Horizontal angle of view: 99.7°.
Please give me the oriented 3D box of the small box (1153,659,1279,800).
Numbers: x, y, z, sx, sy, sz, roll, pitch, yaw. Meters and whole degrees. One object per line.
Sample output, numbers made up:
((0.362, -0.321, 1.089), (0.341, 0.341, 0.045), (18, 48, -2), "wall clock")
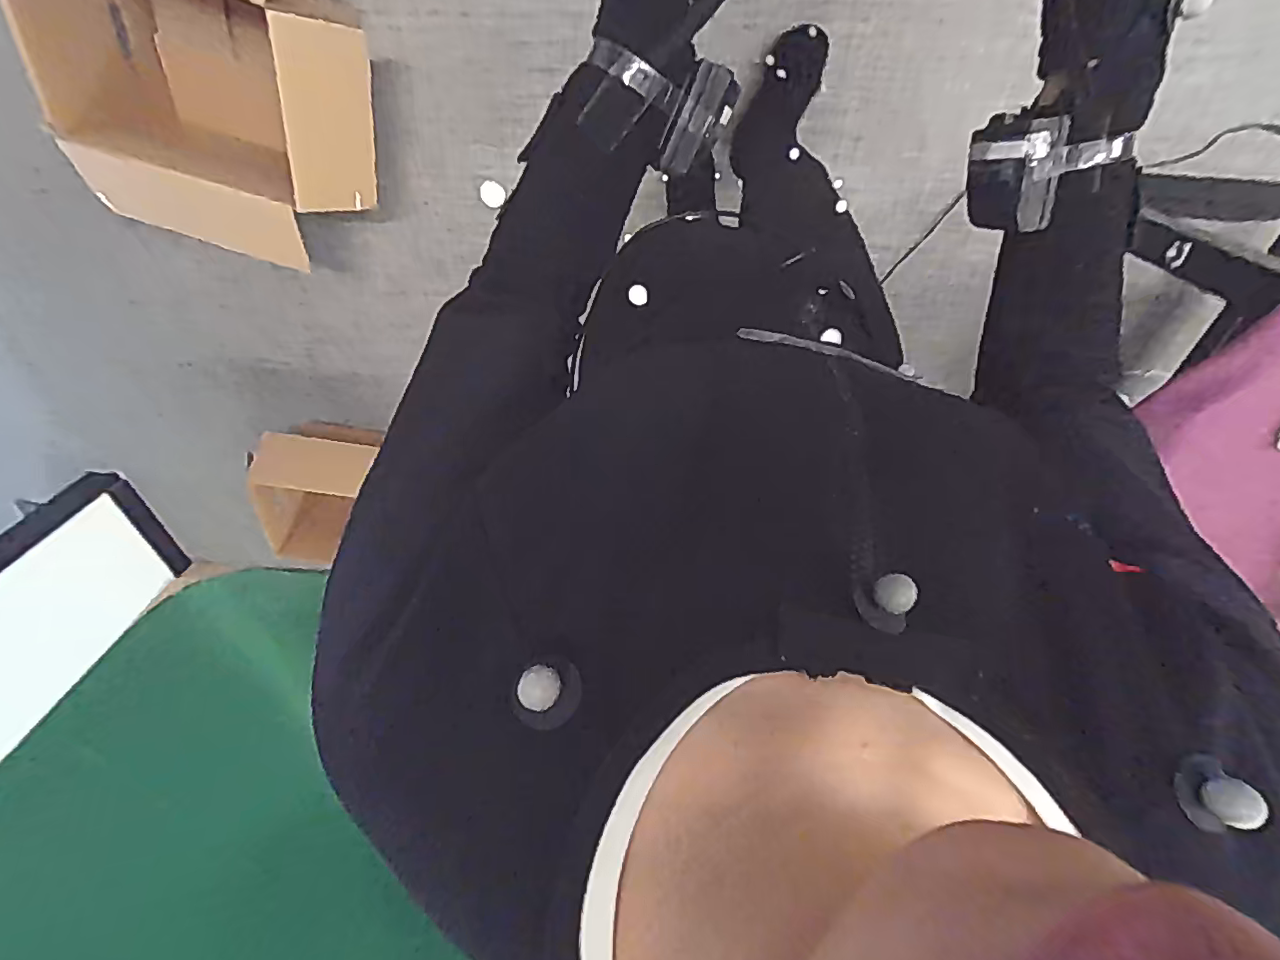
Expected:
((1.042, 0.438, 0.957), (0.179, 0.176, 0.168), (6, 129, 1), "small box")

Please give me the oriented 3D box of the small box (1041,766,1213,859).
((1.022, 0.680, 1.155), (0.179, 0.176, 0.168), (9, 129, -2), "small box")
